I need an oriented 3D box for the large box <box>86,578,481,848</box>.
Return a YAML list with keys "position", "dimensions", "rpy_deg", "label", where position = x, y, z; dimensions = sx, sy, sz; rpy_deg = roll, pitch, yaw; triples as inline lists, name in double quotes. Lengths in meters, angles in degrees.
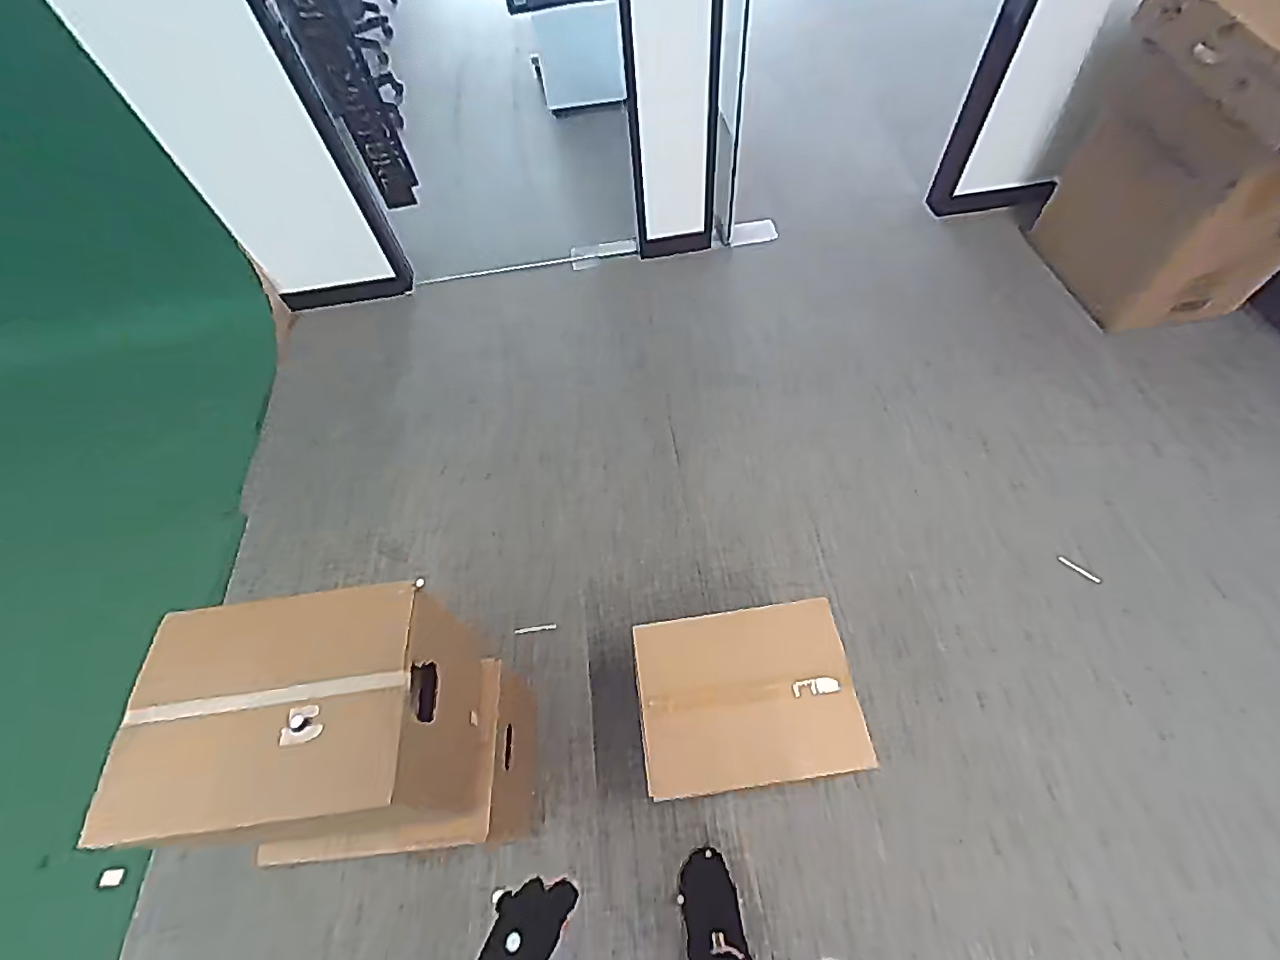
- position: [-0.514, 0.392, 0.893]
  dimensions: [0.408, 0.320, 0.320]
  rpy_deg: [-7, 55, 0]
  label: "large box"
